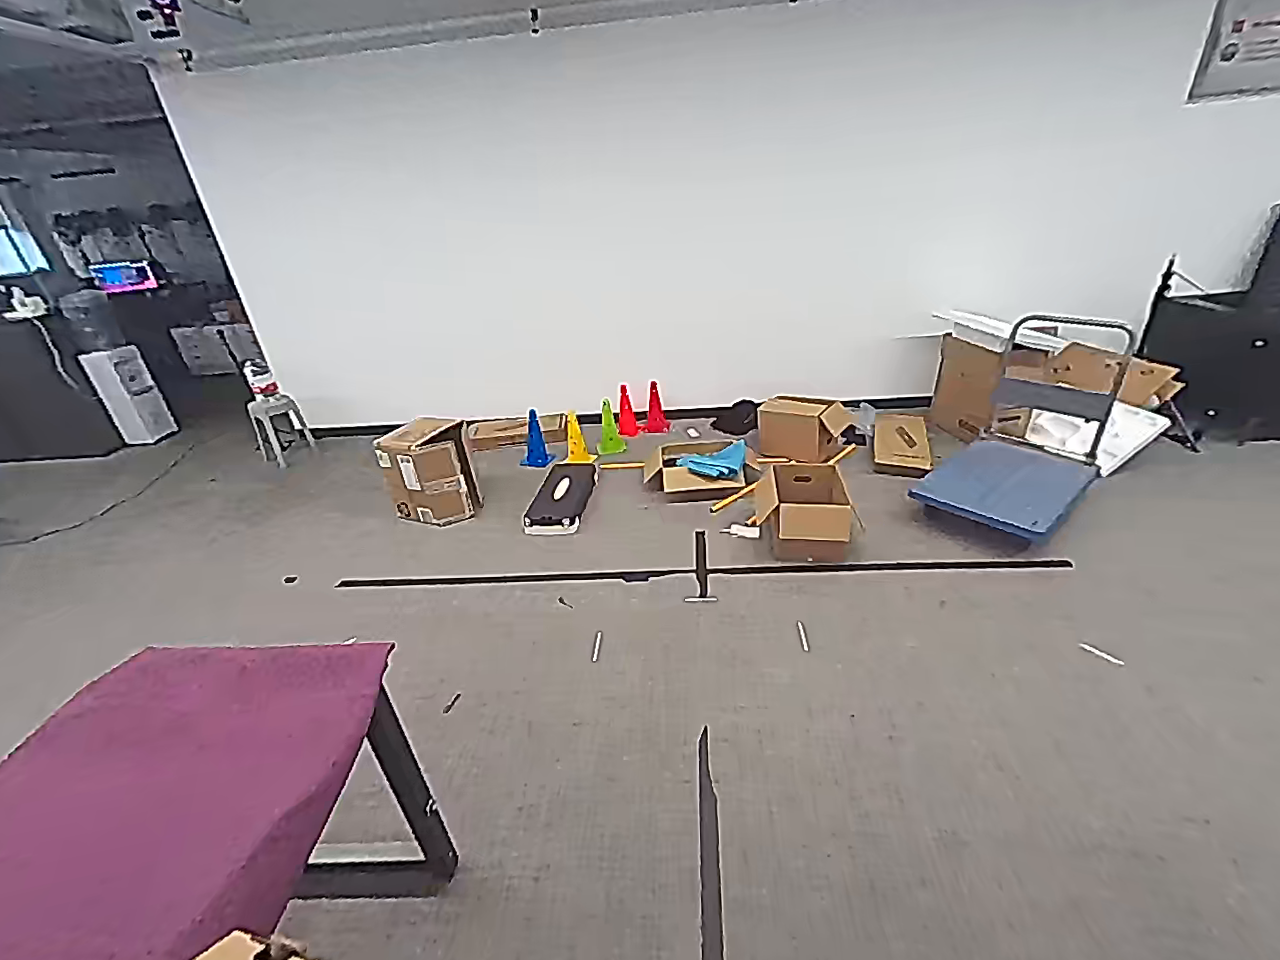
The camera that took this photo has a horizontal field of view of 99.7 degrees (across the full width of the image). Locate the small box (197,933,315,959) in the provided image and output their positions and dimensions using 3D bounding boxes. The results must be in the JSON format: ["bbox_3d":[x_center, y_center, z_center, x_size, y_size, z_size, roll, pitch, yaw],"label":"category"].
[{"bbox_3d":[-0.402,0.580,0.492,0.168,0.176,0.179,-7,-2,23],"label":"small box"}]
